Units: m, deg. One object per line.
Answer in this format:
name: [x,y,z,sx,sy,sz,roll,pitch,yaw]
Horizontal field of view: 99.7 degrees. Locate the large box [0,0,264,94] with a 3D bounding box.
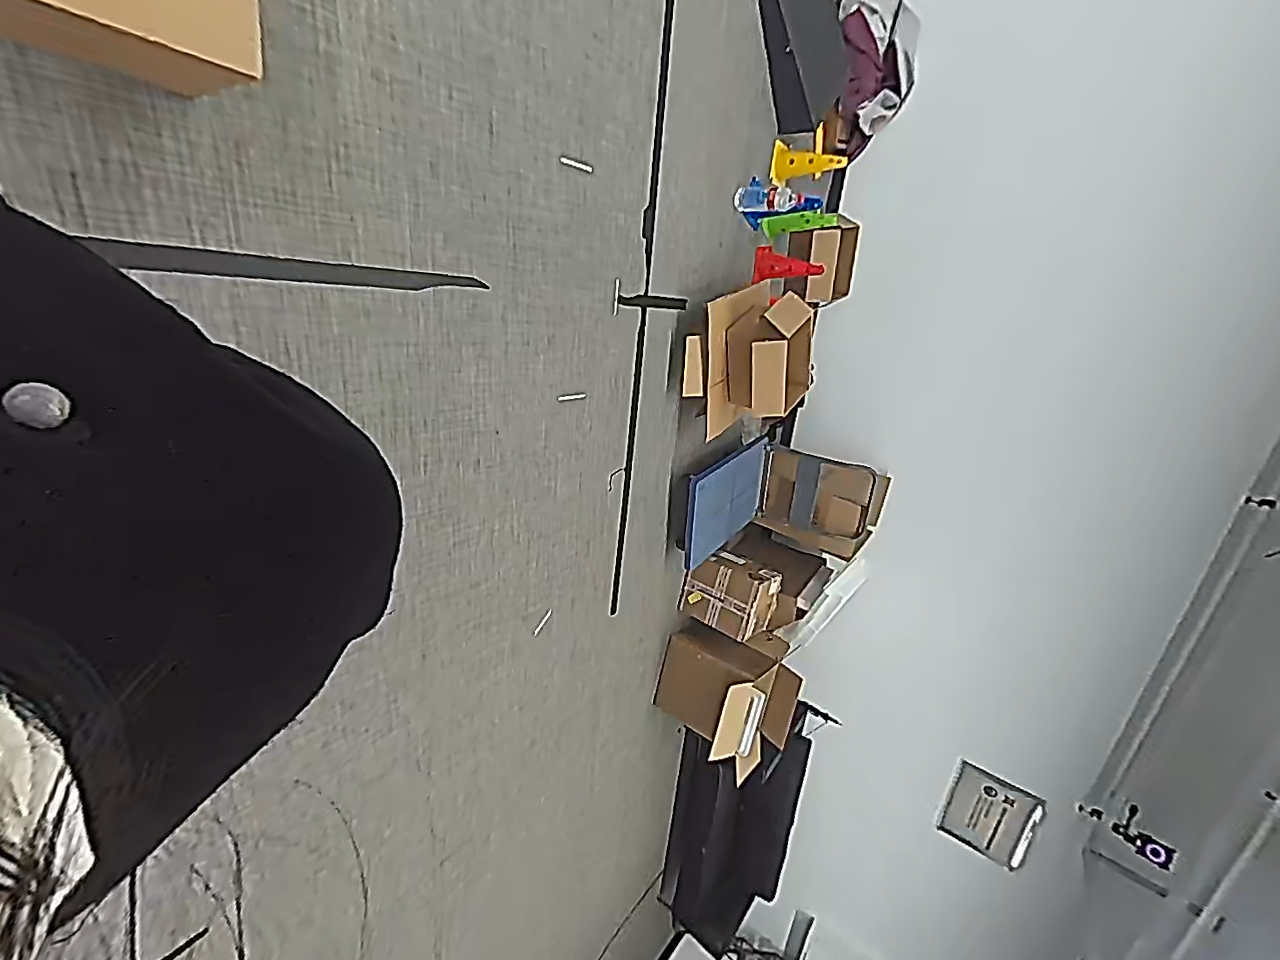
large box: [-0.842,-0.812,0.770,0.408,0.320,0.320,-17,121,-52]
